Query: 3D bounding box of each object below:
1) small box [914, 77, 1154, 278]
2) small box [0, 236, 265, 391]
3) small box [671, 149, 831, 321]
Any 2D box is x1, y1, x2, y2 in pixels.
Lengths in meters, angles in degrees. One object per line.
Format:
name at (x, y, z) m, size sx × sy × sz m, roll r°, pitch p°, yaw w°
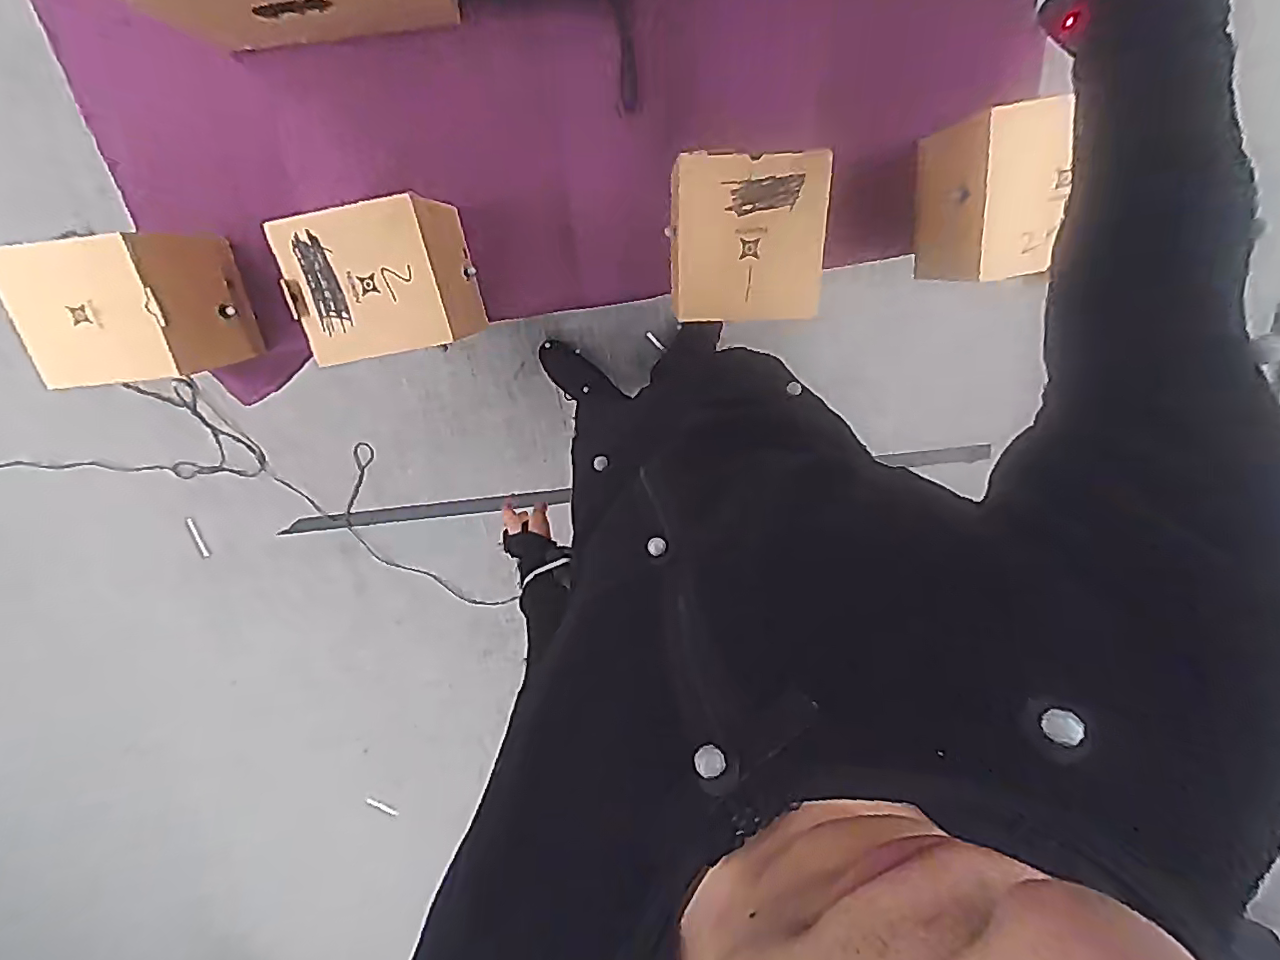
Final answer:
small box at (0.453, -0.348, 0.656) m, size 0.168 × 0.176 × 0.179 m, roll -7°, pitch 112°, yaw 5°
small box at (-0.655, -0.222, 0.718) m, size 0.179 × 0.176 × 0.168 m, roll -6°, pitch 112°, yaw 1°
small box at (0.125, -0.300, 0.680) m, size 0.168 × 0.176 × 0.179 m, roll -1°, pitch 114°, yaw 1°
